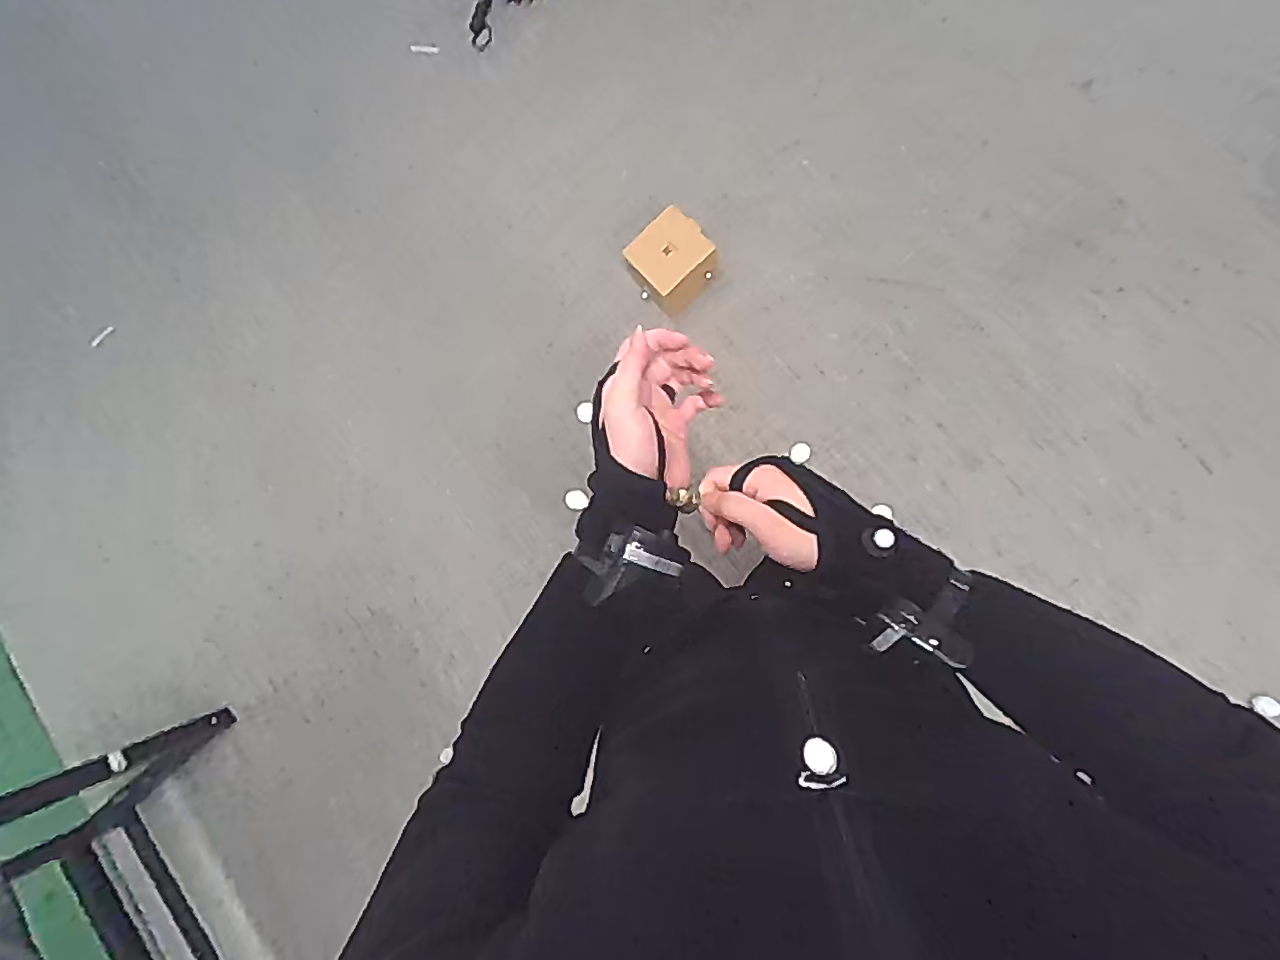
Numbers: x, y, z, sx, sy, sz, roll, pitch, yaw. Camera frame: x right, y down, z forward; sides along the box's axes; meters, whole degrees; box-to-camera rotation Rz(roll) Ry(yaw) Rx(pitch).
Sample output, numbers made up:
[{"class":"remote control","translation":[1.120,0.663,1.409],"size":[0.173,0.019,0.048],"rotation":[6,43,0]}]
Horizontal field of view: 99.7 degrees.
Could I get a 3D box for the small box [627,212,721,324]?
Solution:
[{"class":"small box","translation":[0.093,-0.539,1.398],"size":[0.179,0.176,0.168],"rotation":[-42,79,6]}]
